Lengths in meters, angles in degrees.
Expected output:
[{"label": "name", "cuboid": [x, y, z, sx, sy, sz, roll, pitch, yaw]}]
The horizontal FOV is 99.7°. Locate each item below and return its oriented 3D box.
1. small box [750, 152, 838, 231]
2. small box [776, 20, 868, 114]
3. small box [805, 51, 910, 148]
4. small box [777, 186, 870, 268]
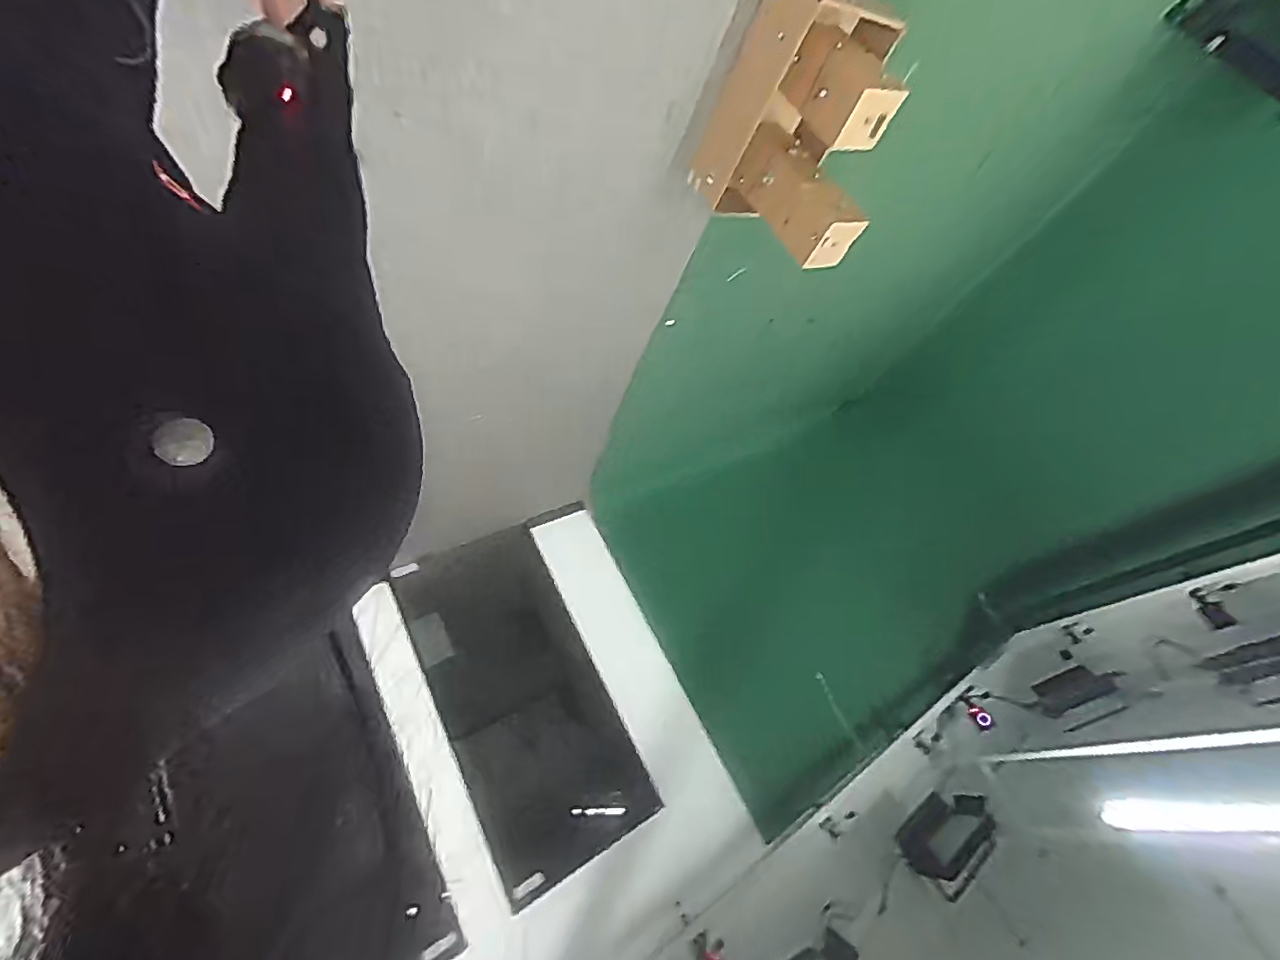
[{"label": "small box", "cuboid": [0.493, -0.928, 1.745, 0.179, 0.176, 0.168, -15, 155, -32]}, {"label": "small box", "cuboid": [0.541, -1.212, 1.592, 0.179, 0.176, 0.168, -18, 159, -27]}, {"label": "small box", "cuboid": [0.608, -1.075, 1.528, 0.179, 0.176, 0.168, -18, 159, -24]}, {"label": "small box", "cuboid": [0.568, -0.792, 1.690, 0.179, 0.176, 0.168, -18, 157, -30]}]
